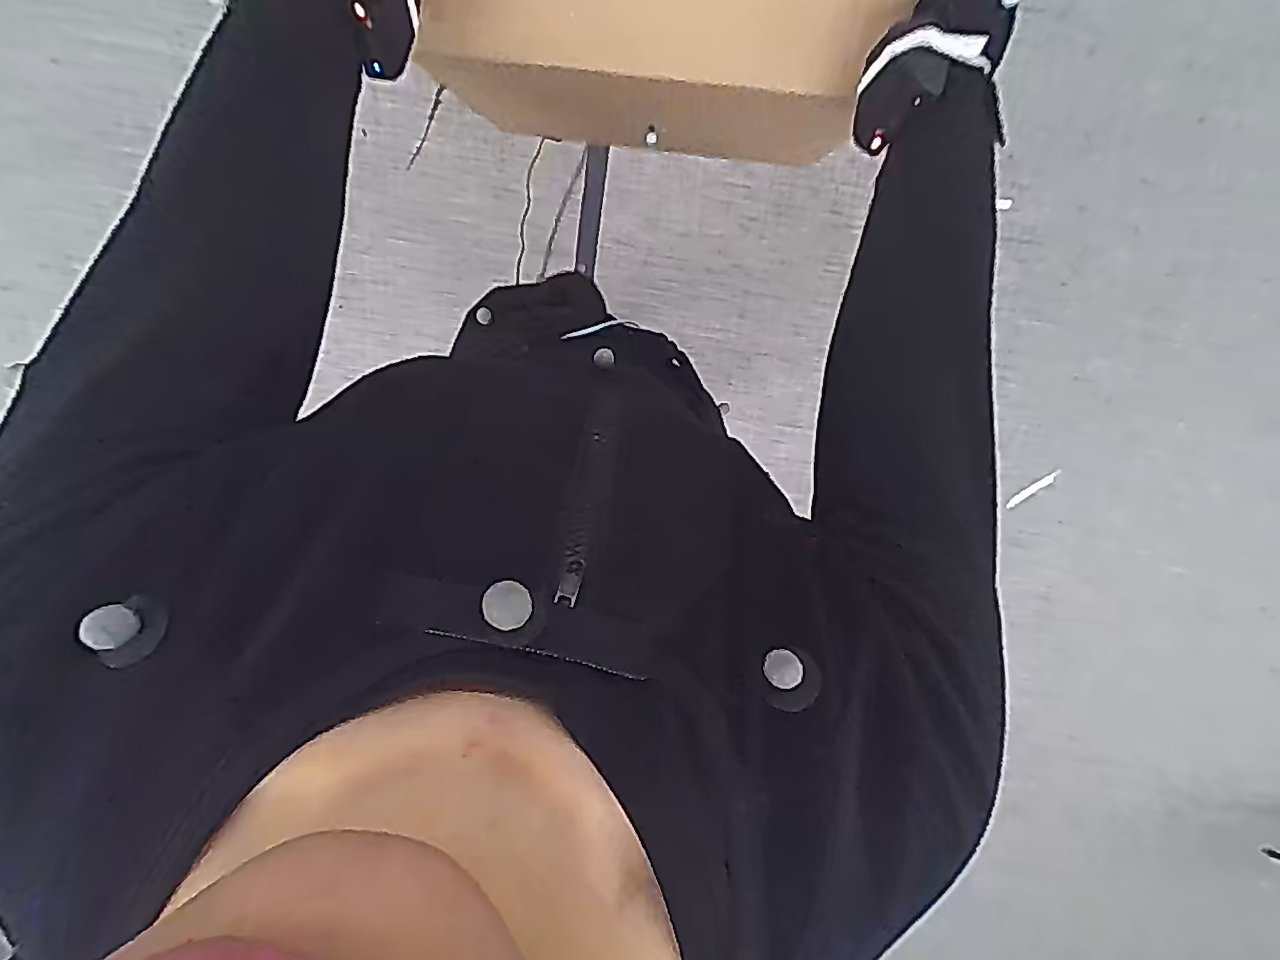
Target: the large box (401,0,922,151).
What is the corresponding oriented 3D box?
[{"bbox_3d":[0.033,-0.523,0.505,0.408,0.320,0.320,7,112,1],"label":"large box"}]
